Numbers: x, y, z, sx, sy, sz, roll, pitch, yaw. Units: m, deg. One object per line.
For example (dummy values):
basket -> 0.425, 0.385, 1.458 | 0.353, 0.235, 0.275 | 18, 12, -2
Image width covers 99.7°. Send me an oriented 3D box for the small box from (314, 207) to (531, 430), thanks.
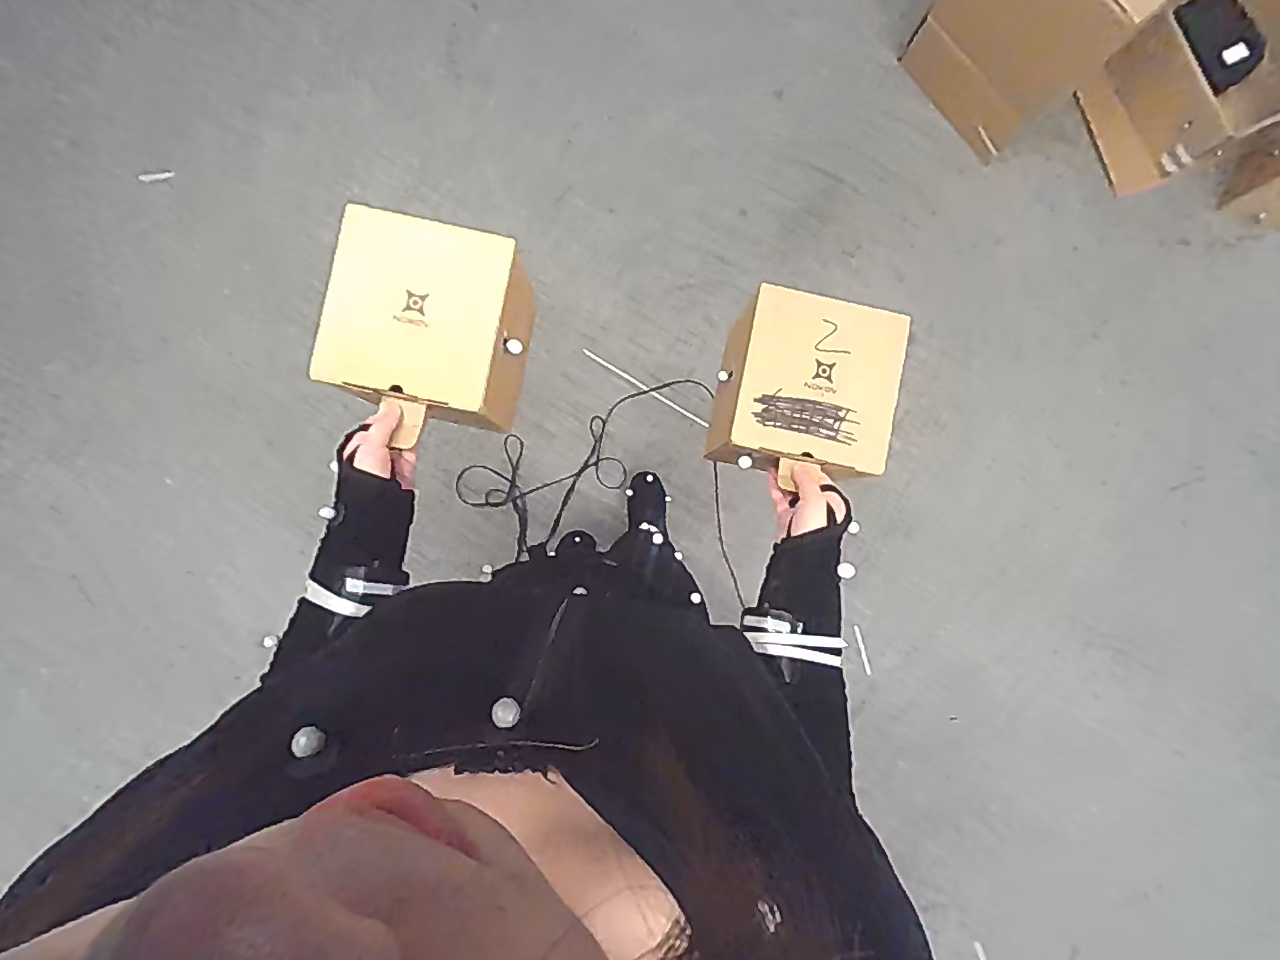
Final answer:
small box -> -0.224, -0.165, 0.608 | 0.168, 0.176, 0.179 | 11, 88, -4
